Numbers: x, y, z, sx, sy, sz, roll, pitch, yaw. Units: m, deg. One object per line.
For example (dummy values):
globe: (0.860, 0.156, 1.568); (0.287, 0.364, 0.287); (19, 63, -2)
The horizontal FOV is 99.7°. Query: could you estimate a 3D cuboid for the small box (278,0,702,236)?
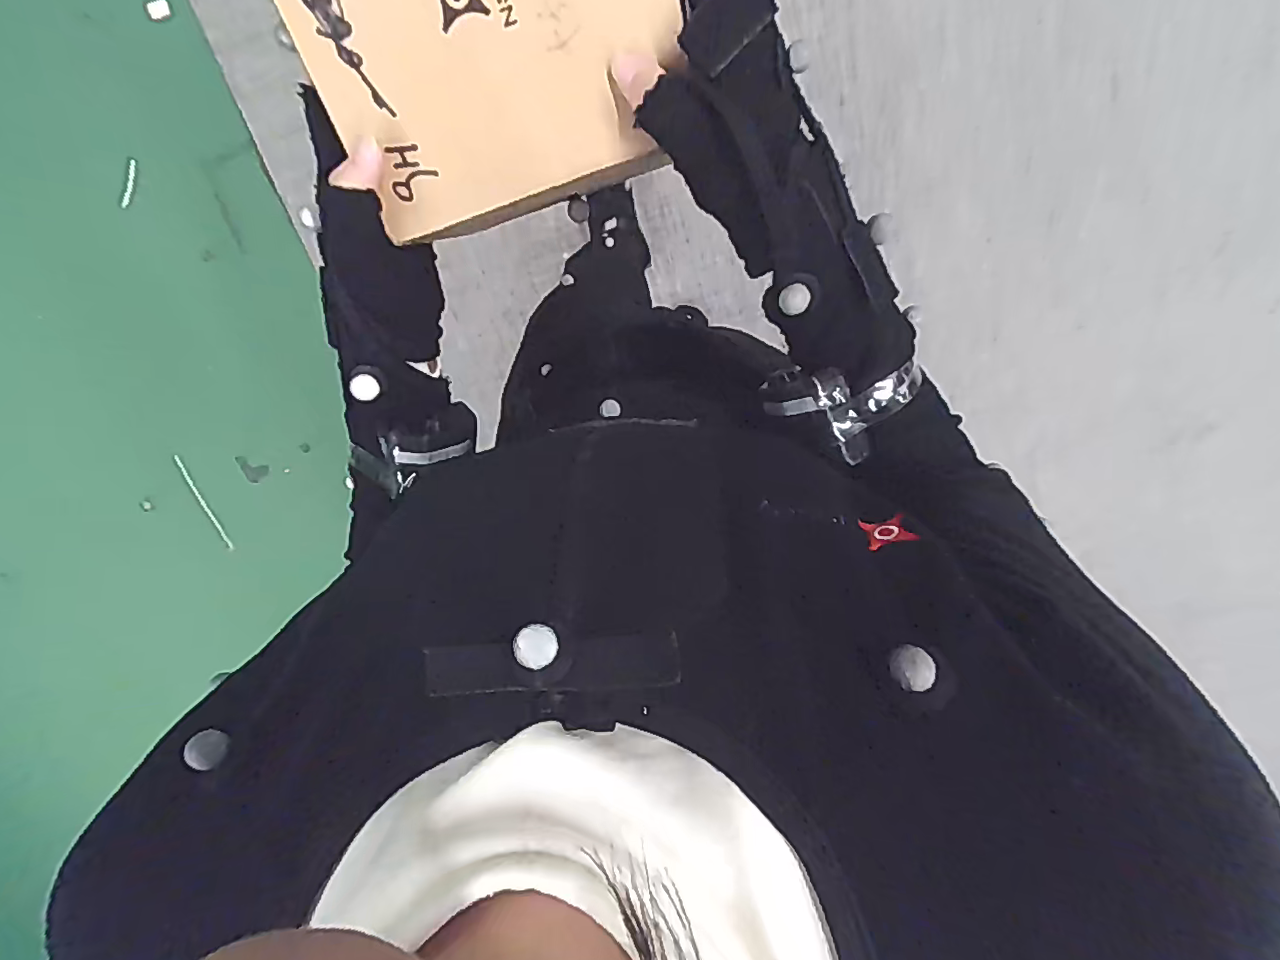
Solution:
small box: (-0.076, -0.256, 0.313); (0.179, 0.176, 0.168); (-16, 115, 7)
